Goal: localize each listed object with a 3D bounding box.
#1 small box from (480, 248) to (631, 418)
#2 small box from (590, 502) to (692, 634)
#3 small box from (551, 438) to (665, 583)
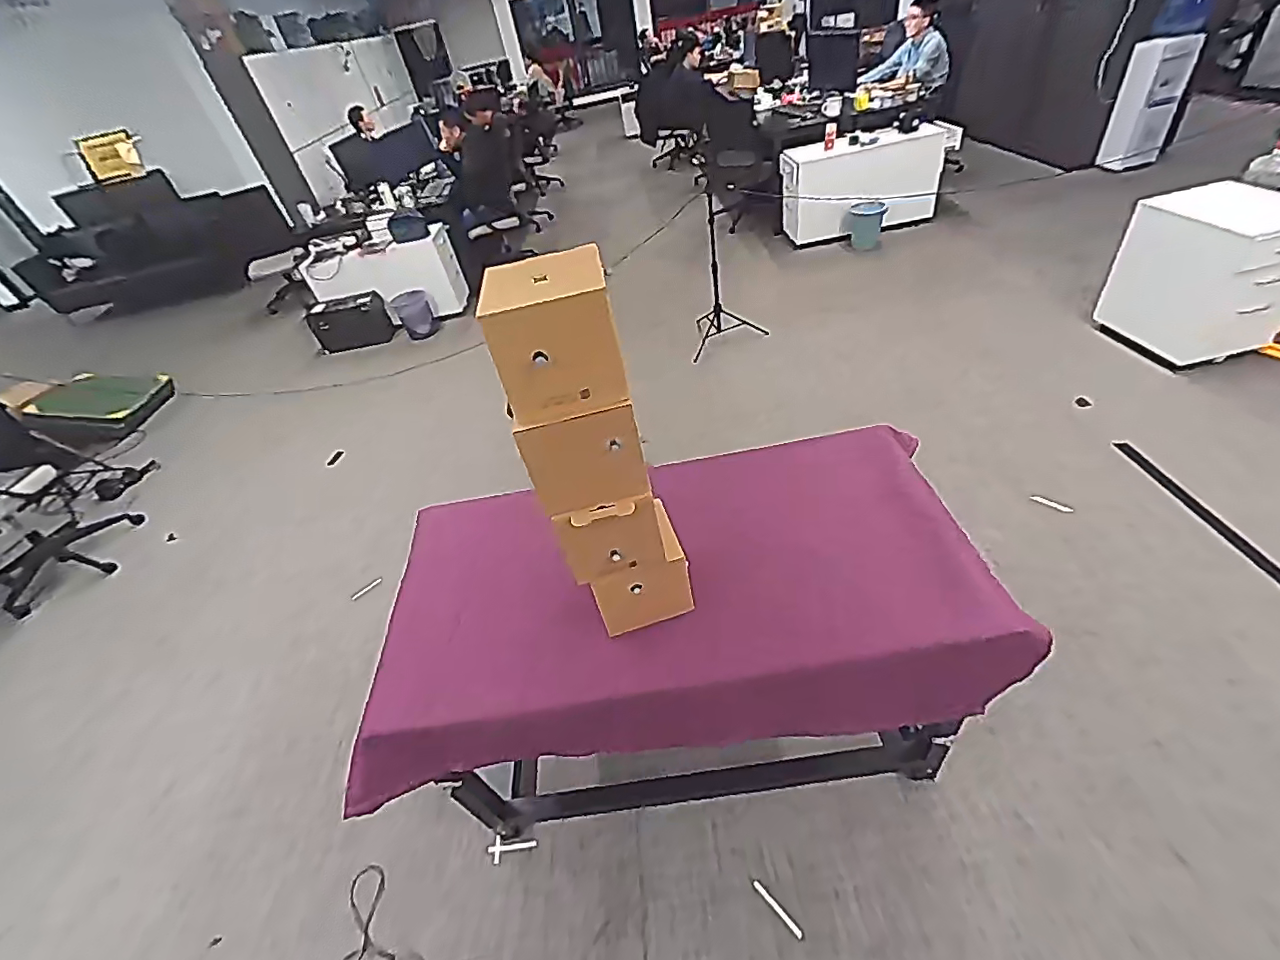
[{"bbox_3d":[-0.114,-0.204,0.772,0.168,0.176,0.179,-13,40,0],"label":"small box"},{"bbox_3d":[-0.009,0.176,1.068,0.179,0.176,0.168,-16,41,-5],"label":"small box"},{"bbox_3d":[-0.058,0.055,0.966,0.168,0.176,0.179,-14,41,0],"label":"small box"}]
